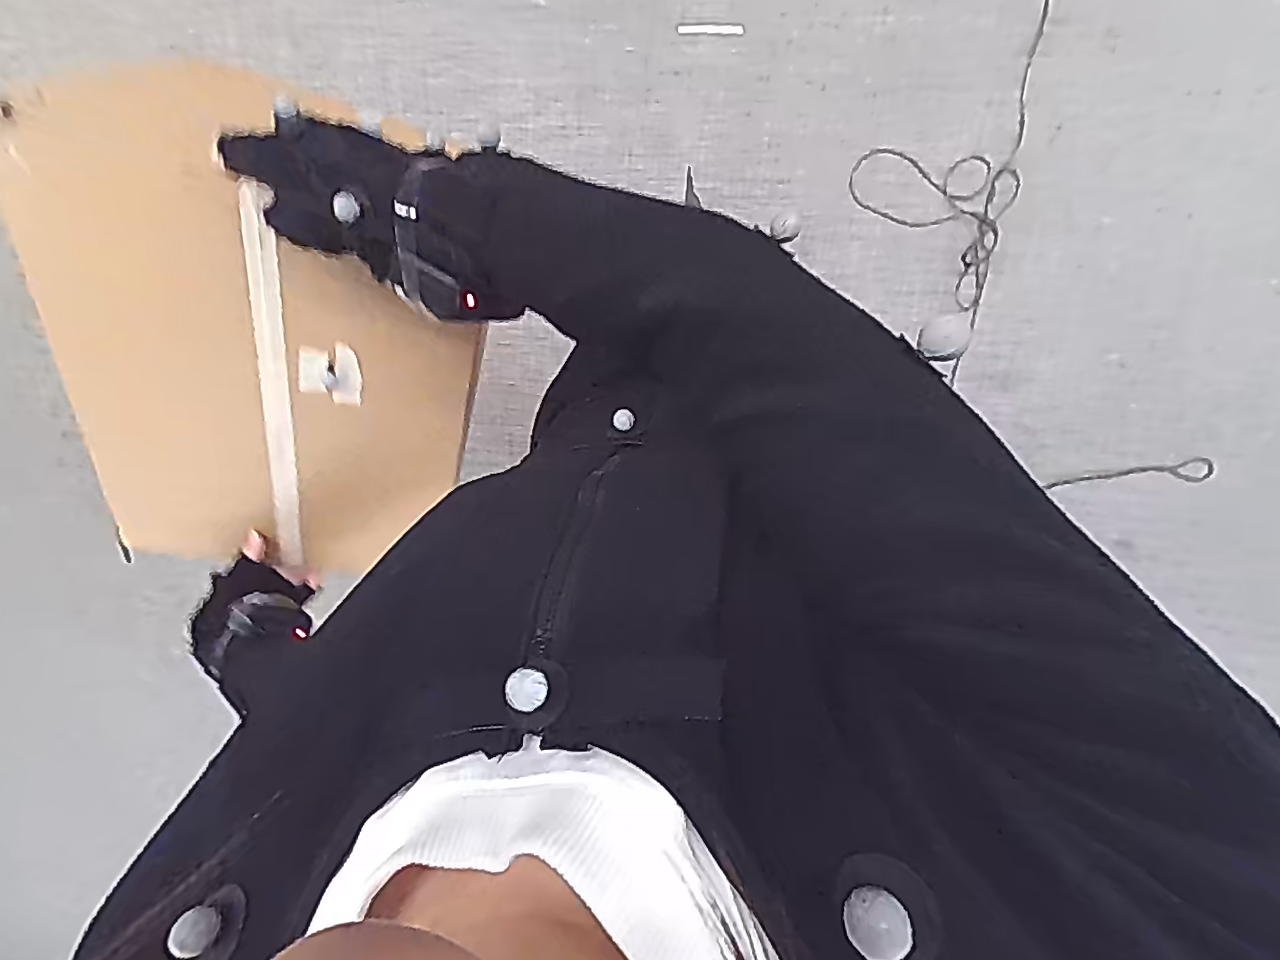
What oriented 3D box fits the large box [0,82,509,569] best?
[{"bbox_3d":[-0.337,-0.157,0.614,0.320,0.320,0.408,8,128,-17],"label":"large box"}]
